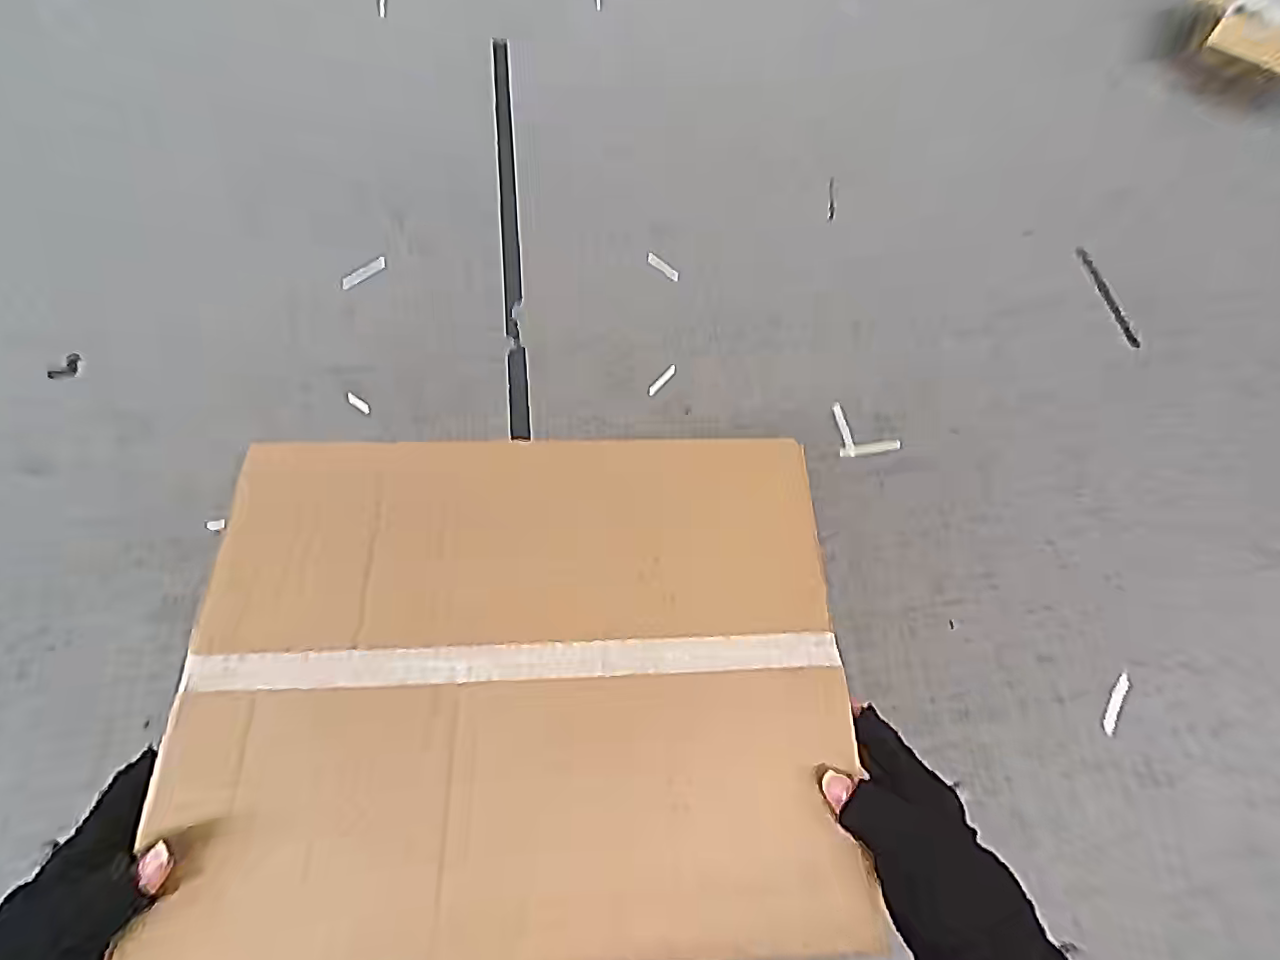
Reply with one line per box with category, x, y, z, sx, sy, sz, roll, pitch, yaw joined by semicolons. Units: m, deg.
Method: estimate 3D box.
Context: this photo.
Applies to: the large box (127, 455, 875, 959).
large box;-0.079;0.185;0.477;0.408;0.320;0.320;-1;66;-3
